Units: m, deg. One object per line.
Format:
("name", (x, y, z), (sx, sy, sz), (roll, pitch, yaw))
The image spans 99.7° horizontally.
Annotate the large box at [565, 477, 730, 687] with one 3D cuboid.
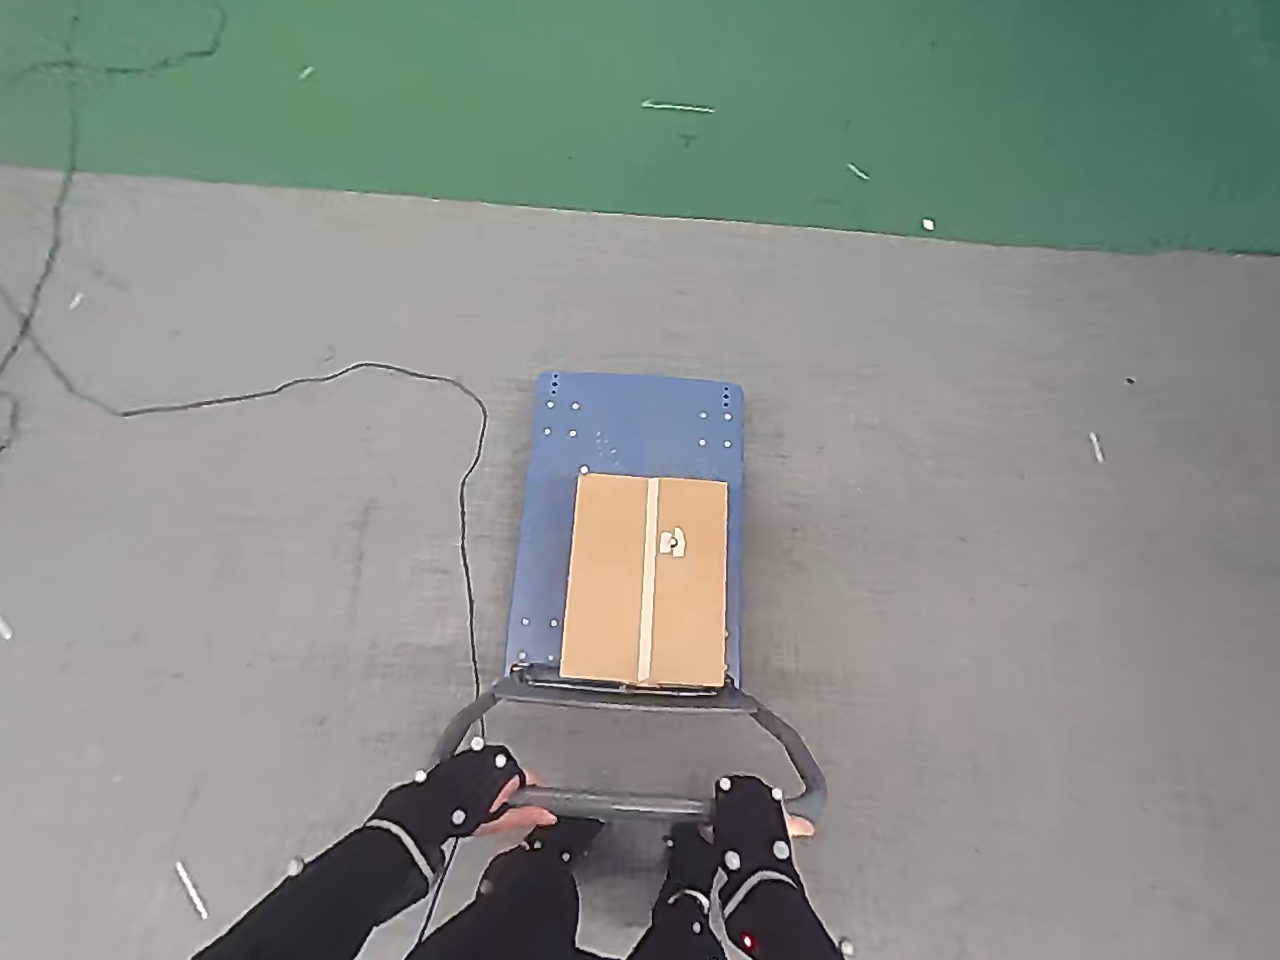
("large box", (0.018, 0.236, 1.203), (0.320, 0.320, 0.408), (4, 72, -2))
